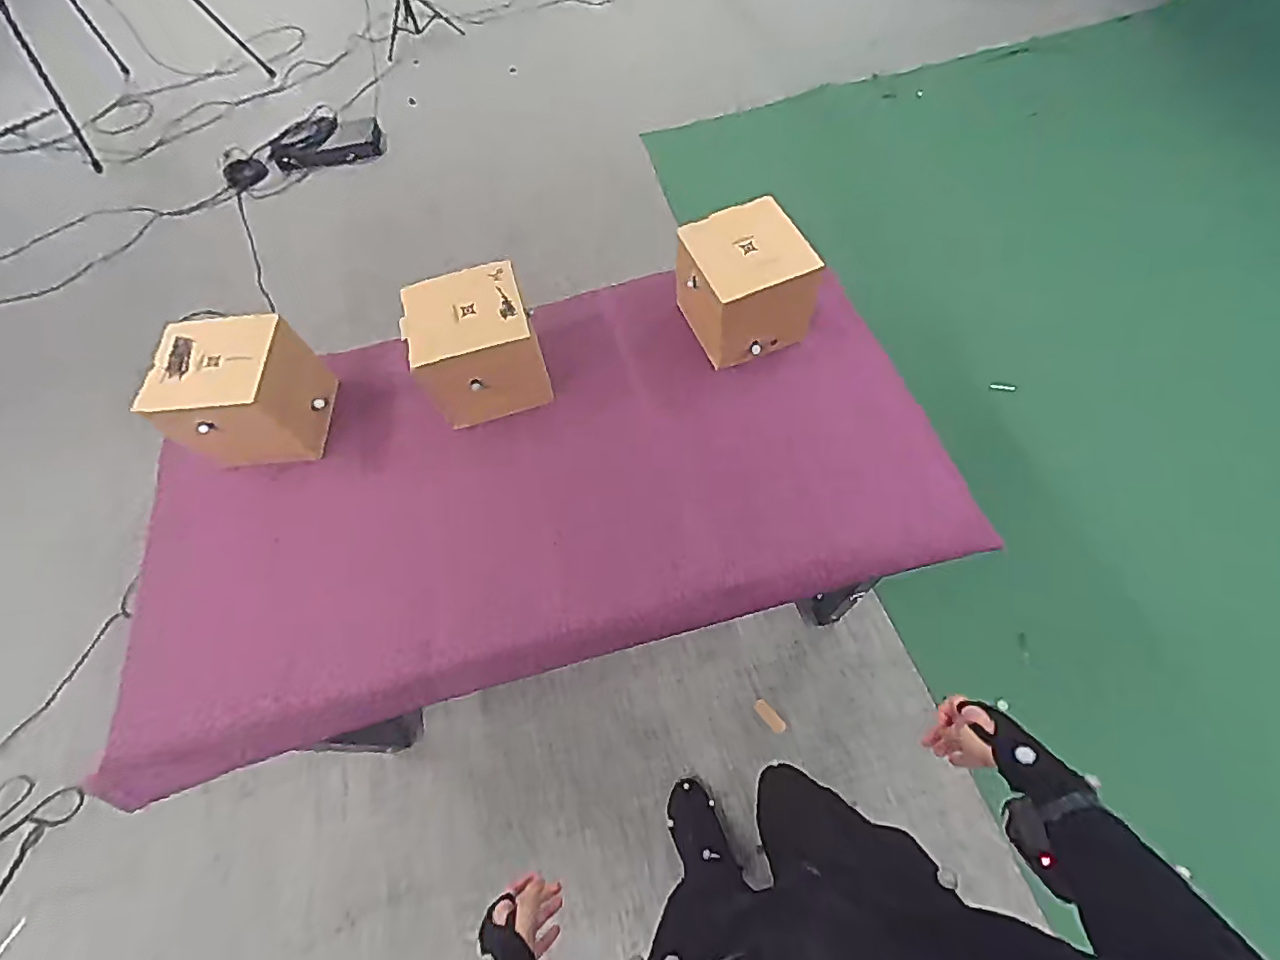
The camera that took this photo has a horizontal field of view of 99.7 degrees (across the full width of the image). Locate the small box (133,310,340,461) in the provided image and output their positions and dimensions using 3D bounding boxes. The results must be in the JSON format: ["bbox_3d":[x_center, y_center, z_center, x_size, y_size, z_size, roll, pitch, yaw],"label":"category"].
[{"bbox_3d":[-0.613,-0.140,0.848,0.179,0.176,0.168,-5,64,1],"label":"small box"}]

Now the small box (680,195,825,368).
[{"bbox_3d":[0.170,-0.317,0.881,0.168,0.176,0.179,-21,65,-5],"label":"small box"}]

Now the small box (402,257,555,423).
[{"bbox_3d":[-0.251,-0.214,0.860,0.179,0.176,0.168,-17,65,-3],"label":"small box"}]
